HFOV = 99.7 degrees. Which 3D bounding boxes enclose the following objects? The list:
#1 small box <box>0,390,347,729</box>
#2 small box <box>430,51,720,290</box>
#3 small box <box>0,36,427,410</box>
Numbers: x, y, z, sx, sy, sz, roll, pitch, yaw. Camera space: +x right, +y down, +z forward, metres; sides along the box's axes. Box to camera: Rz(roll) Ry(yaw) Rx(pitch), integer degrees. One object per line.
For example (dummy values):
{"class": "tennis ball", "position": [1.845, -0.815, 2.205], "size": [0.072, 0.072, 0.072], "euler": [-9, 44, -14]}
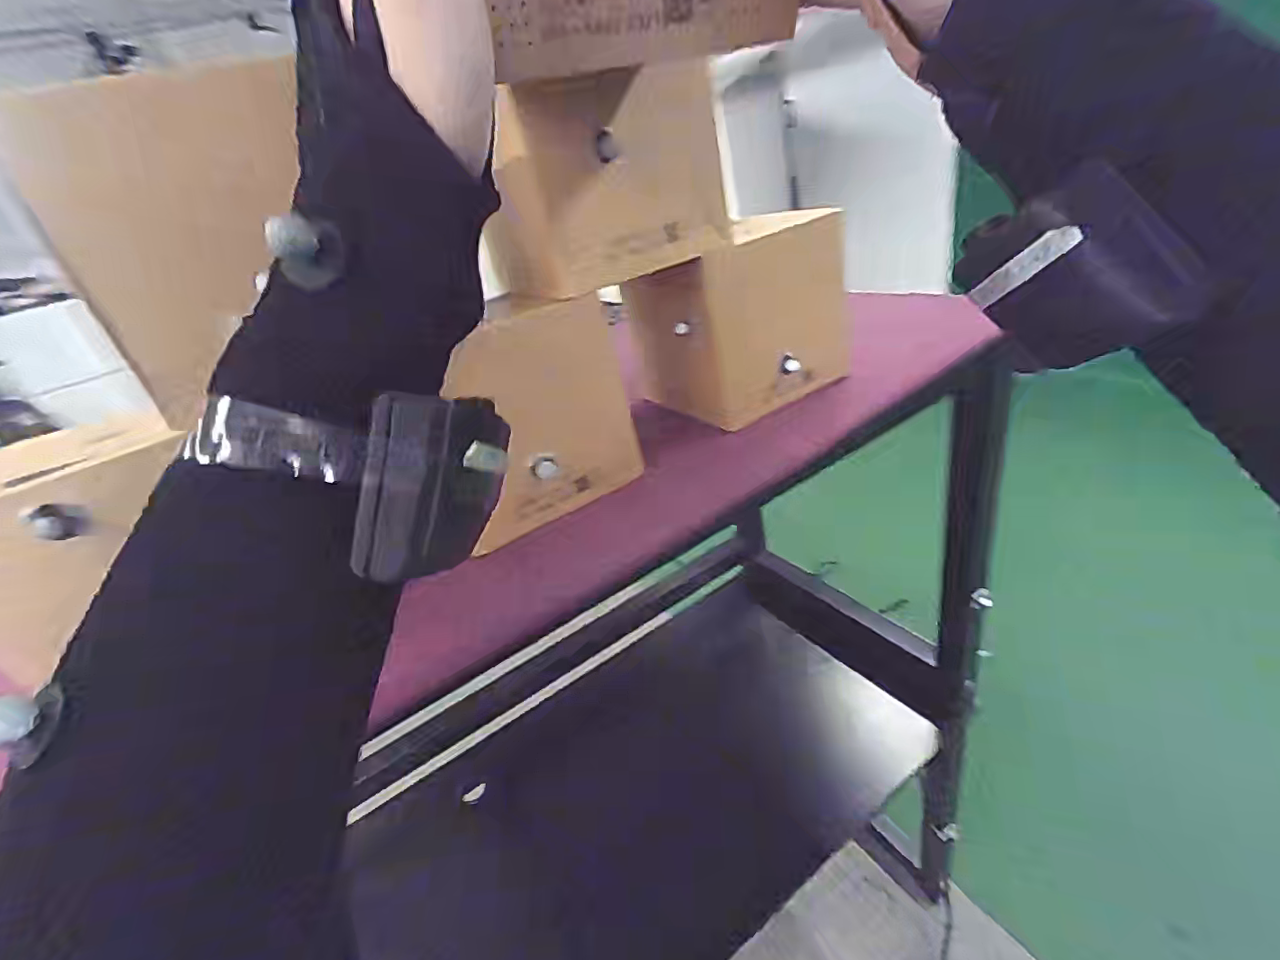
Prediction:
{"class": "small box", "position": [-0.338, 0.034, 0.392], "size": [0.168, 0.176, 0.179], "euler": [-28, 30, -22]}
{"class": "small box", "position": [-0.052, -0.269, 0.460], "size": [0.168, 0.176, 0.179], "euler": [-26, 30, -21]}
{"class": "small box", "position": [-0.268, -0.162, 0.368], "size": [0.168, 0.176, 0.179], "euler": [-27, 31, -20]}
